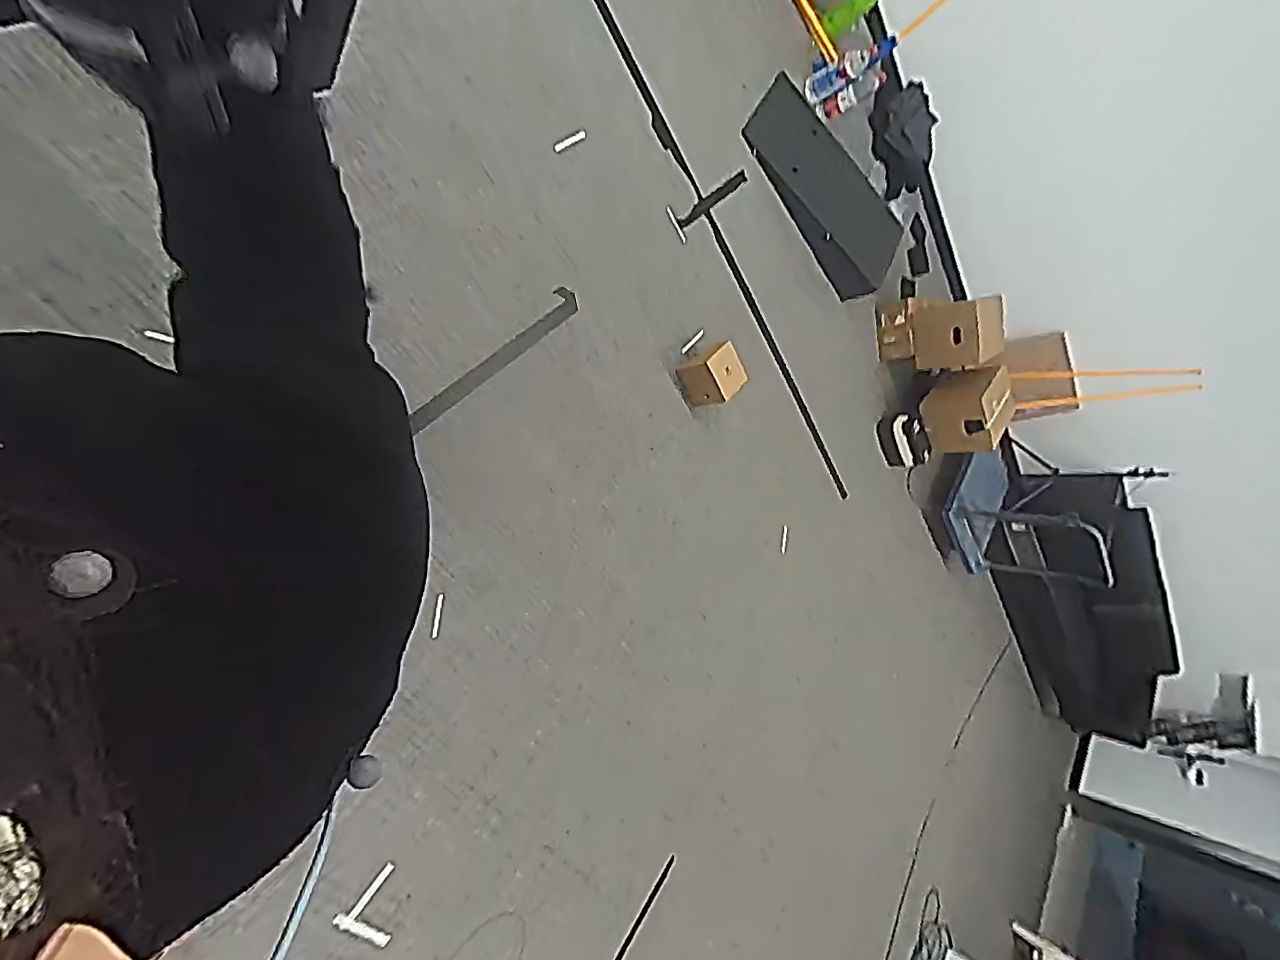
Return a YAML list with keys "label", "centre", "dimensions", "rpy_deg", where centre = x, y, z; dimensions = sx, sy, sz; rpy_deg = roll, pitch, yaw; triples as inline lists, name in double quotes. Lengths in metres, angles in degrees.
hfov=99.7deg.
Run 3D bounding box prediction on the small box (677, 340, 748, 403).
- label: "small box"
  centre: [0.275, -0.410, 2.073]
  dimensions: [0.168, 0.176, 0.179]
  rpy_deg: [-46, 116, -30]
